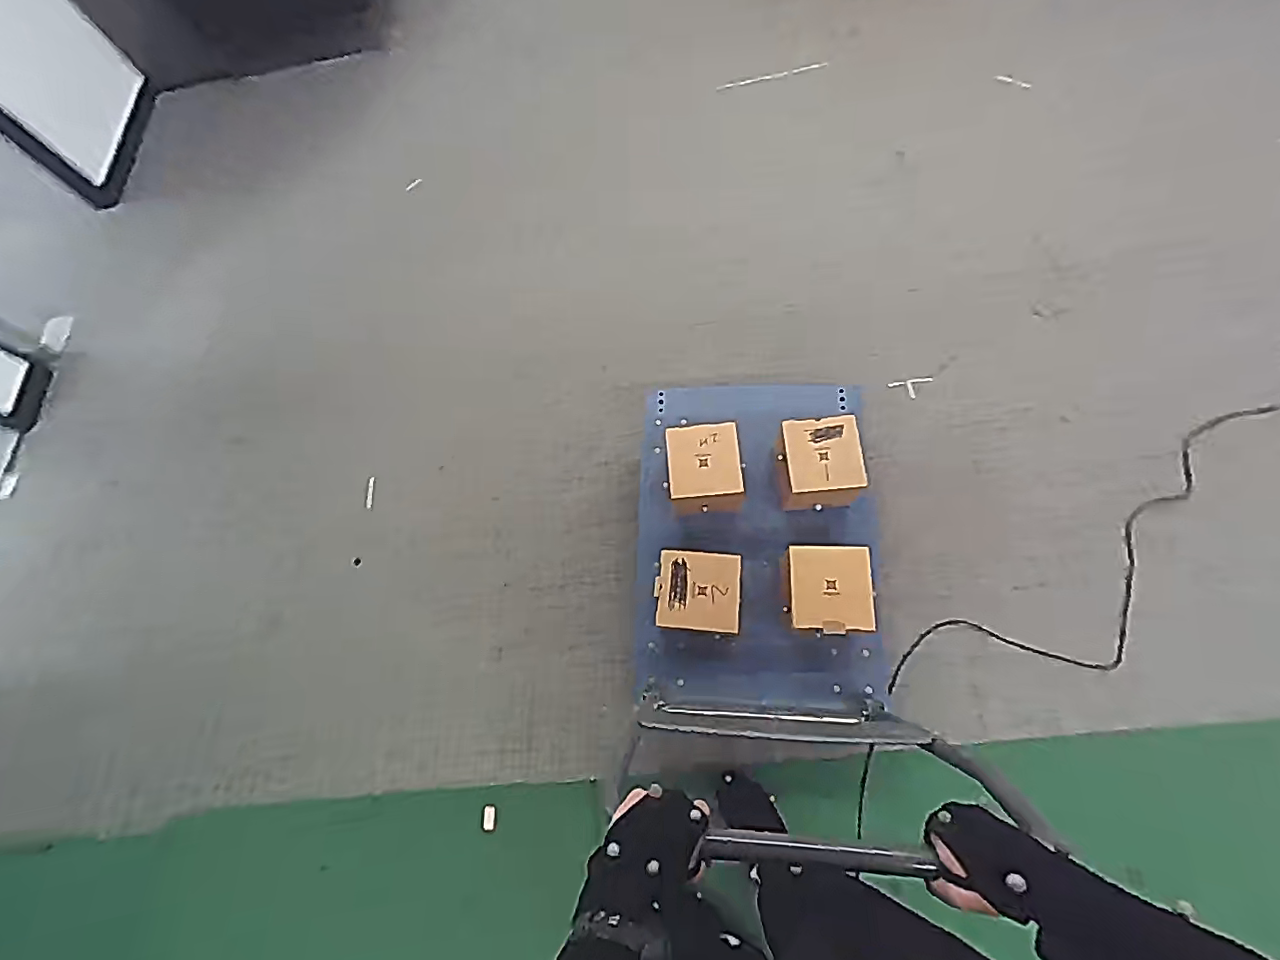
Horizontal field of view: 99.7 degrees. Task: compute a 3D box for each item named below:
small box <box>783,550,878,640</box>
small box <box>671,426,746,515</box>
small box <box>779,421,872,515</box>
[{"bbox_3d":[0.413,0.258,1.199,0.168,0.176,0.179,1,73,7],"label":"small box"},{"bbox_3d":[0.164,-0.015,1.315,0.168,0.176,0.179,-4,72,4],"label":"small box"},{"bbox_3d":[0.432,-0.025,1.287,0.168,0.176,0.179,-4,72,6],"label":"small box"}]
